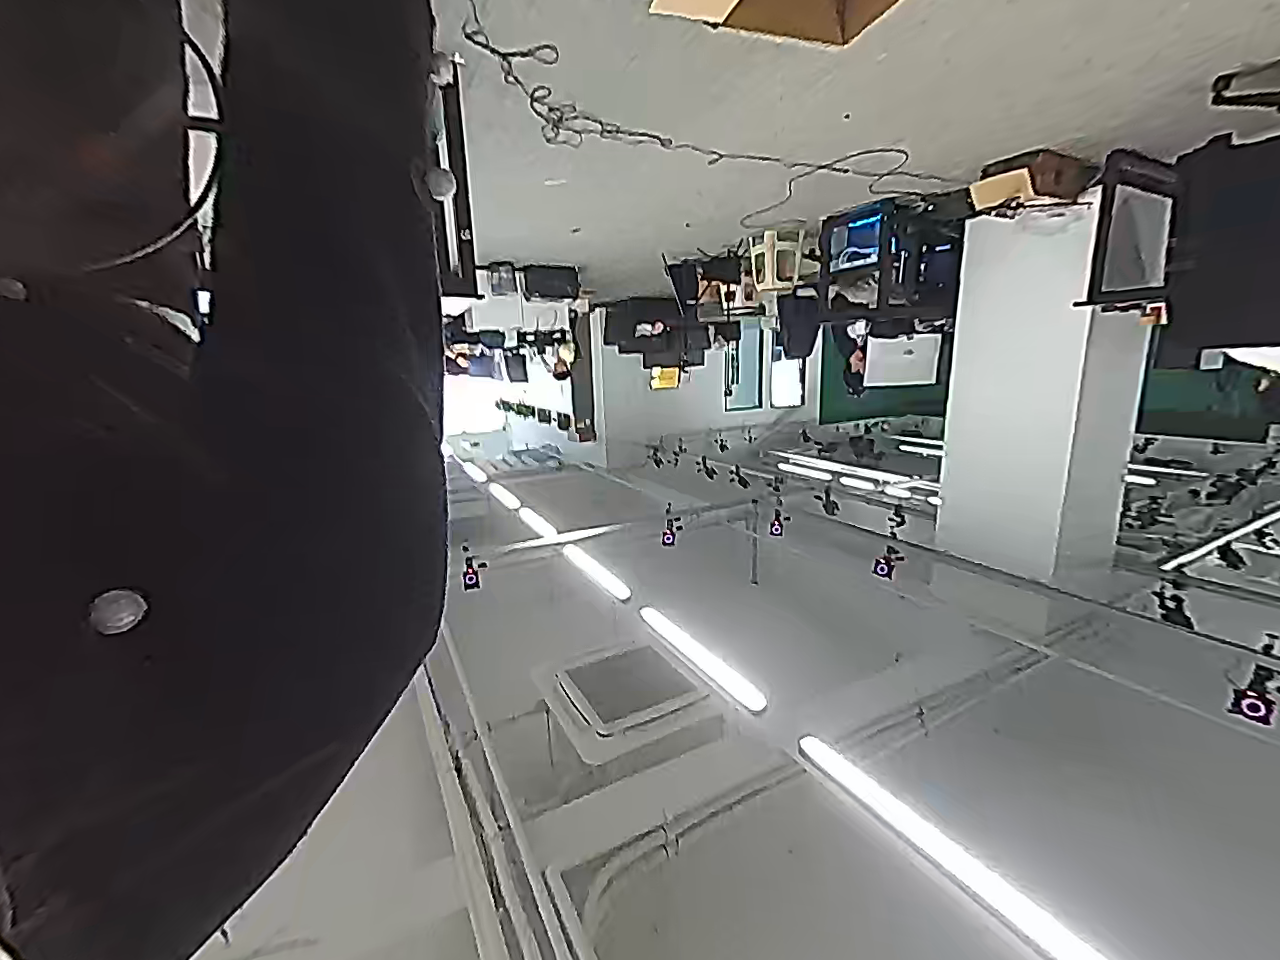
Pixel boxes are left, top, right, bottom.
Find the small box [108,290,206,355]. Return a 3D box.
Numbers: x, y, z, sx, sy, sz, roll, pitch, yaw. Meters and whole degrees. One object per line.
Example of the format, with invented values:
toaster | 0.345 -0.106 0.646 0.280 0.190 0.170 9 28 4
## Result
small box | -1.406 -0.458 1.578 0.179 0.176 0.168 -11 -163 -29
